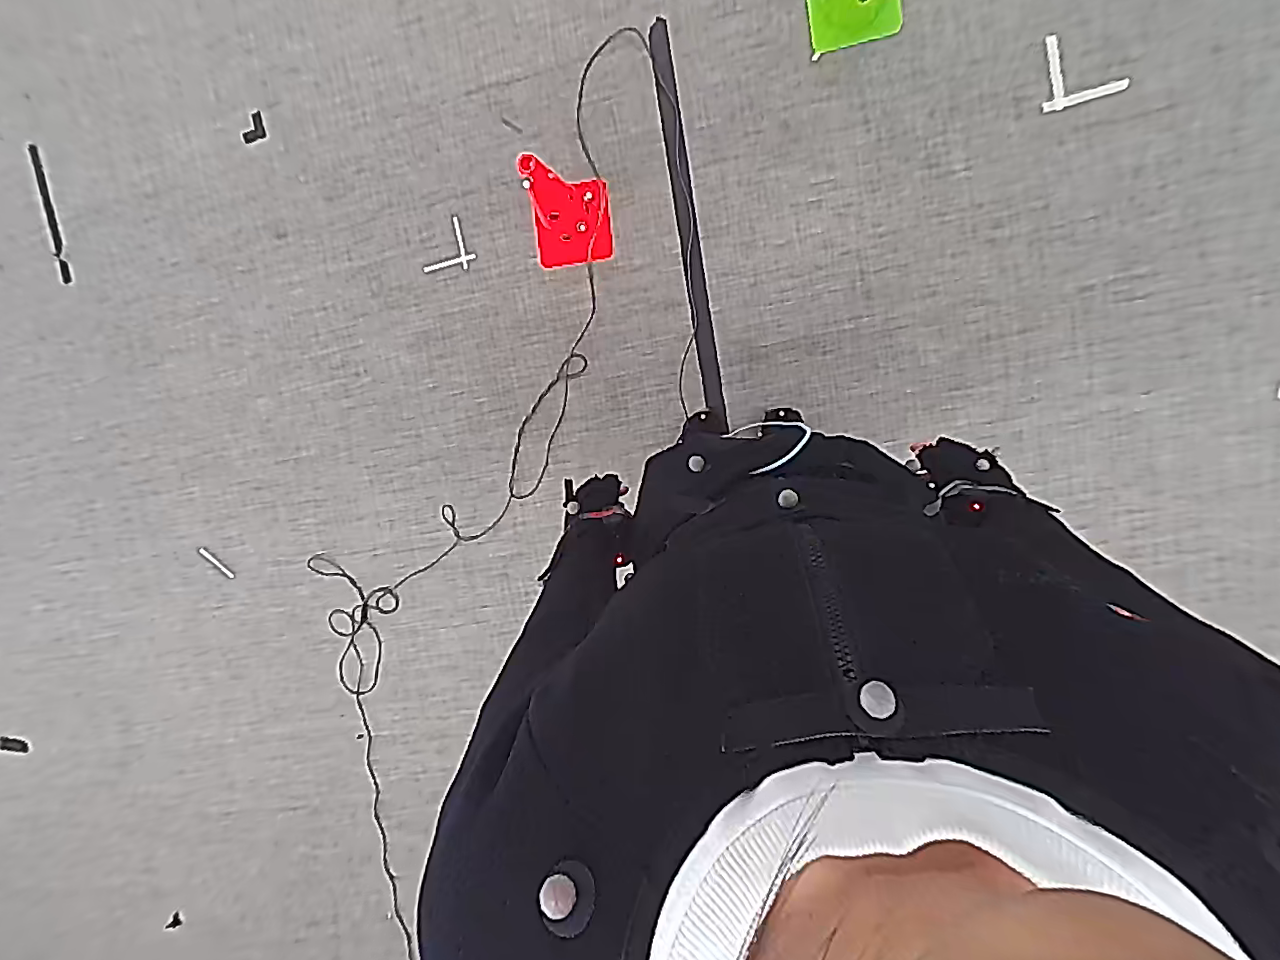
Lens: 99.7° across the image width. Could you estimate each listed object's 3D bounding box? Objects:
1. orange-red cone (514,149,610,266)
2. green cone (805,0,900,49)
[{"bbox_3d":[-0.204,-0.641,1.222,0.199,0.360,0.198,-4,95,10],"label":"orange-red cone"},{"bbox_3d":[0.460,-1.086,1.066,0.202,0.368,0.200,-9,96,8],"label":"green cone"}]
